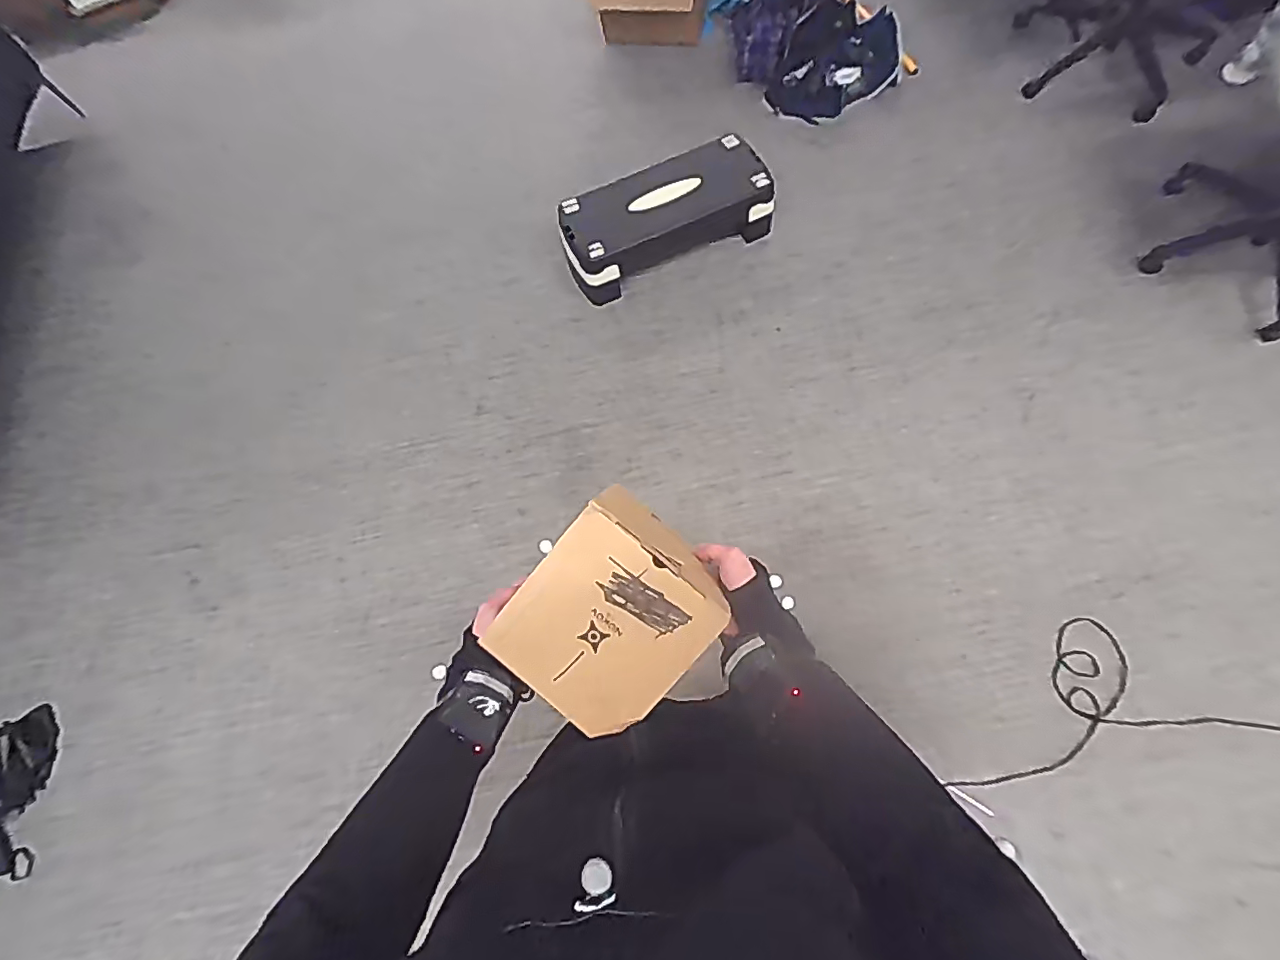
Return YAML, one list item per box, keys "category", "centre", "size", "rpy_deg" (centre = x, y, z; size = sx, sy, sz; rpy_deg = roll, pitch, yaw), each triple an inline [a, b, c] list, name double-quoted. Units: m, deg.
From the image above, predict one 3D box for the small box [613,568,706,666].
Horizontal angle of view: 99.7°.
- category: "small box"
  centre: [0.054, 0.350, 1.359]
  size: [0.168, 0.176, 0.179]
  rpy_deg: [29, 74, 14]
